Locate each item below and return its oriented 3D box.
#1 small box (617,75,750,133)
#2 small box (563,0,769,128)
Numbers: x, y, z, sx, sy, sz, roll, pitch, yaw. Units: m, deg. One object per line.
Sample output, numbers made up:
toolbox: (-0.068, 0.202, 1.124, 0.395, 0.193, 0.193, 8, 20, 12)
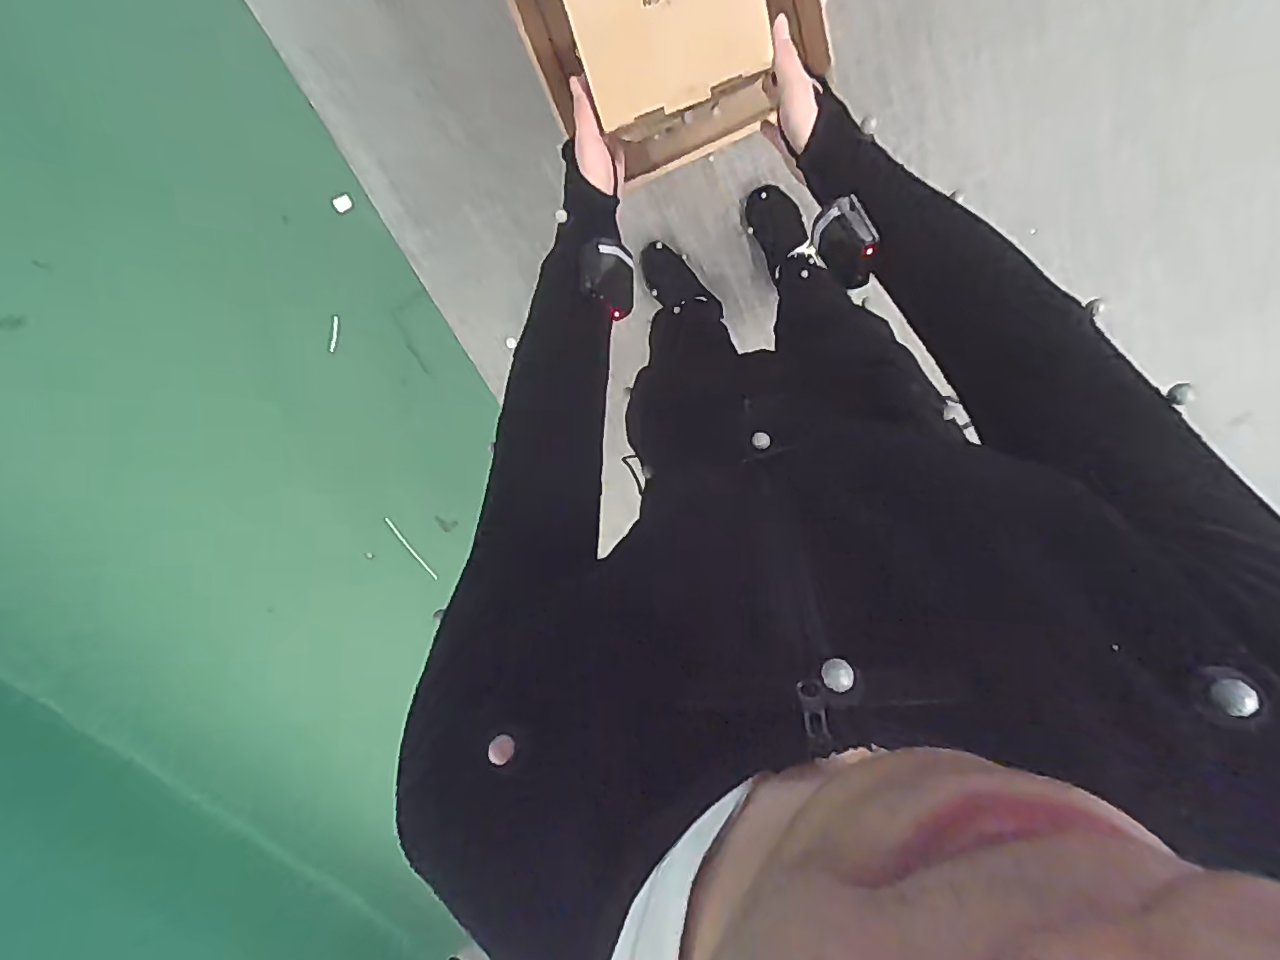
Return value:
small box: (0.031, -0.551, 0.662, 0.168, 0.176, 0.179, -15, 119, 13)
small box: (0.020, -0.467, 0.522, 0.168, 0.176, 0.179, -13, 120, 12)
